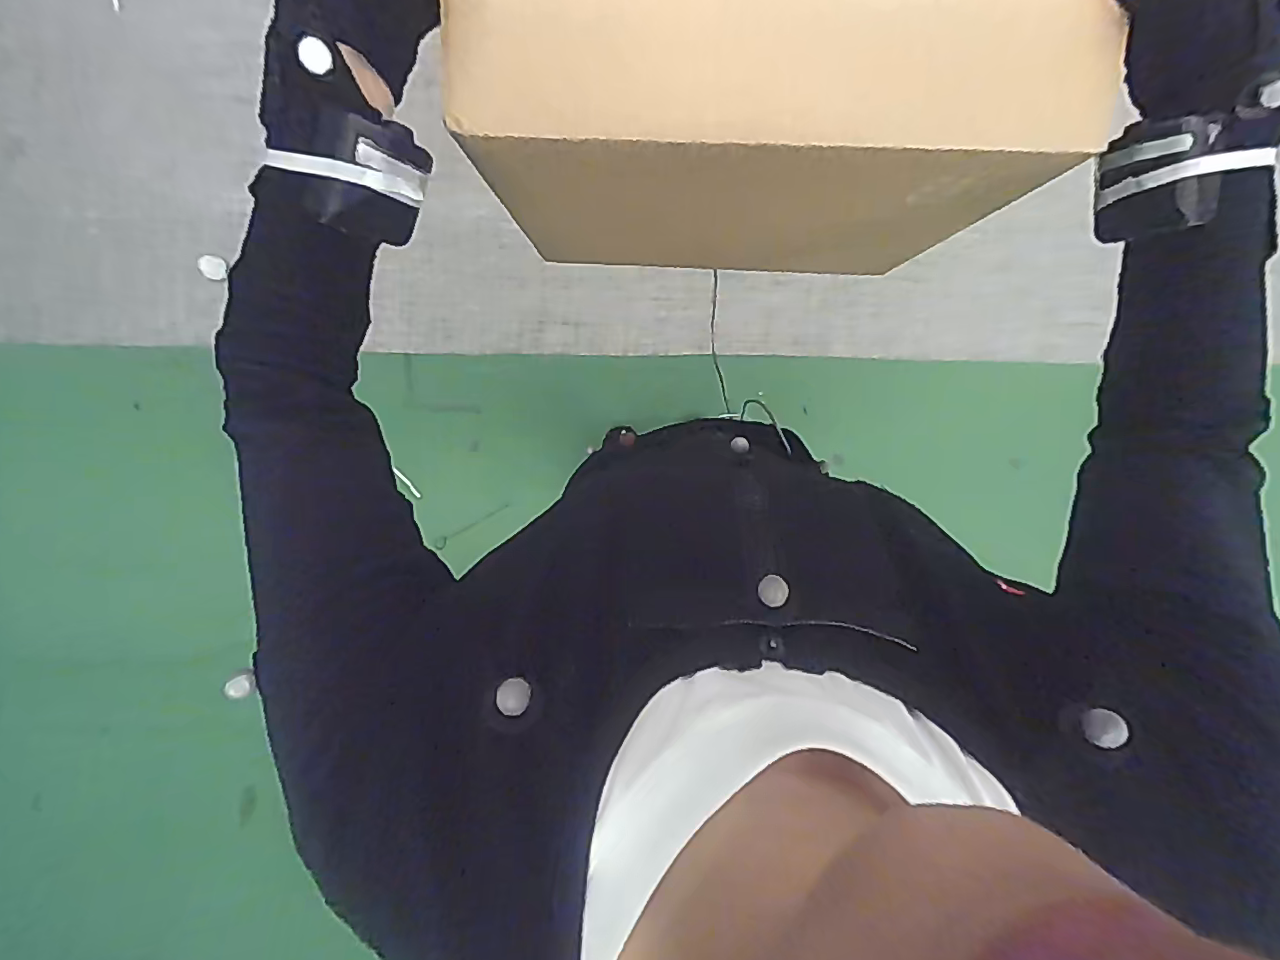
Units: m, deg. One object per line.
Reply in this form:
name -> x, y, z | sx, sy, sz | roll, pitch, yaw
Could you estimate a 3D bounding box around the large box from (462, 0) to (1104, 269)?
large box -> 0.089, -0.382, 0.474 | 0.408, 0.320, 0.320 | 2, 98, 1
